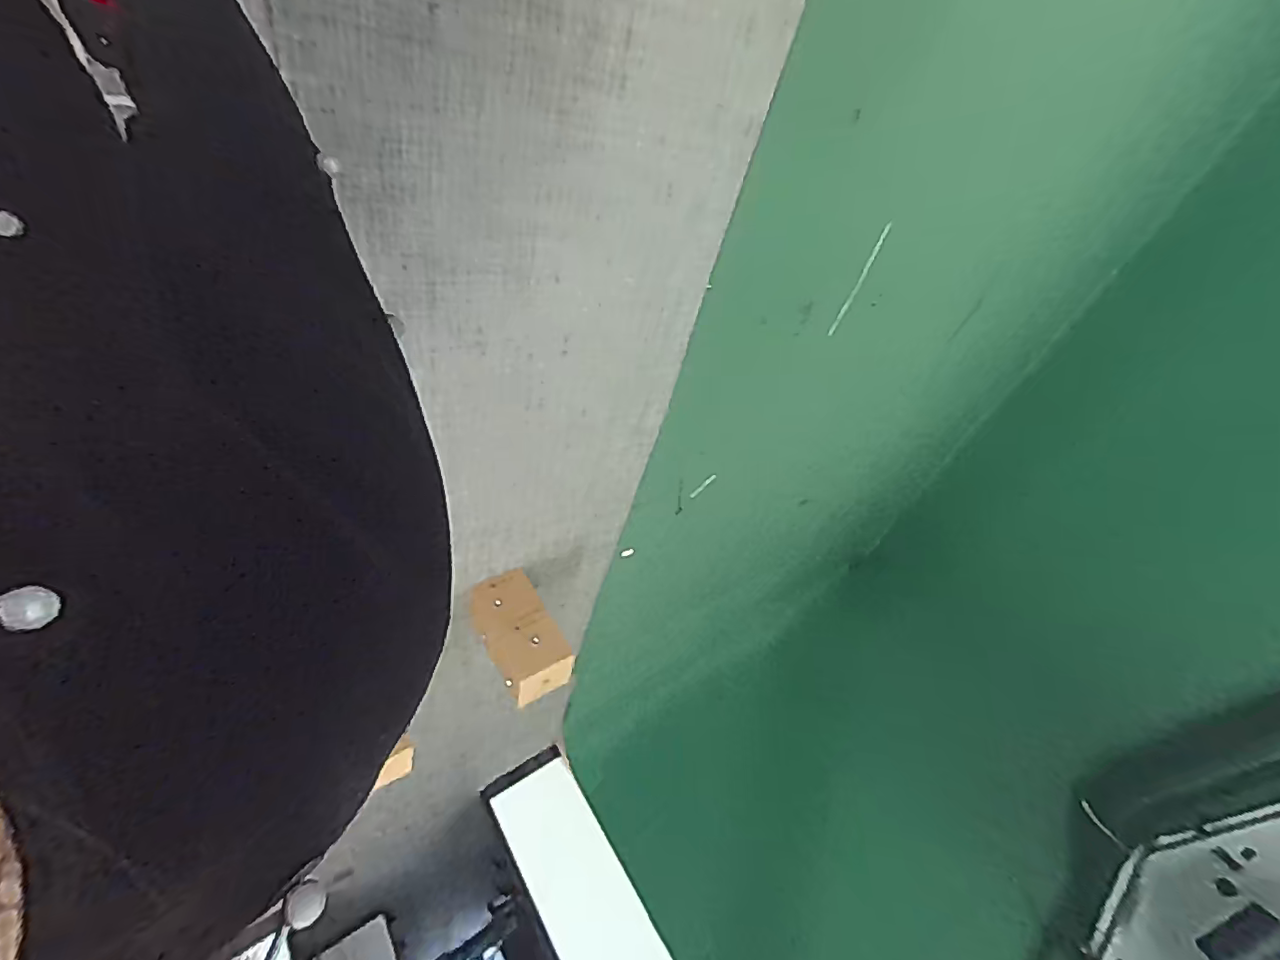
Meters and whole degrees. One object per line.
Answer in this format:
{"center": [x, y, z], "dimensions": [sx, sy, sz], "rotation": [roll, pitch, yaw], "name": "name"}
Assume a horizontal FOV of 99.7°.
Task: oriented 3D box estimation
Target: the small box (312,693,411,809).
{"center": [-0.684, 0.657, 1.328], "dimensions": [0.179, 0.176, 0.168], "rotation": [-14, 142, -37], "name": "small box"}

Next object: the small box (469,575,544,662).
{"center": [-0.407, 0.407, 1.632], "dimensions": [0.168, 0.176, 0.179], "rotation": [-17, 143, -32], "name": "small box"}

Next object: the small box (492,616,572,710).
{"center": [-0.314, 0.514, 1.548], "dimensions": [0.168, 0.176, 0.179], "rotation": [-18, 143, -31], "name": "small box"}
